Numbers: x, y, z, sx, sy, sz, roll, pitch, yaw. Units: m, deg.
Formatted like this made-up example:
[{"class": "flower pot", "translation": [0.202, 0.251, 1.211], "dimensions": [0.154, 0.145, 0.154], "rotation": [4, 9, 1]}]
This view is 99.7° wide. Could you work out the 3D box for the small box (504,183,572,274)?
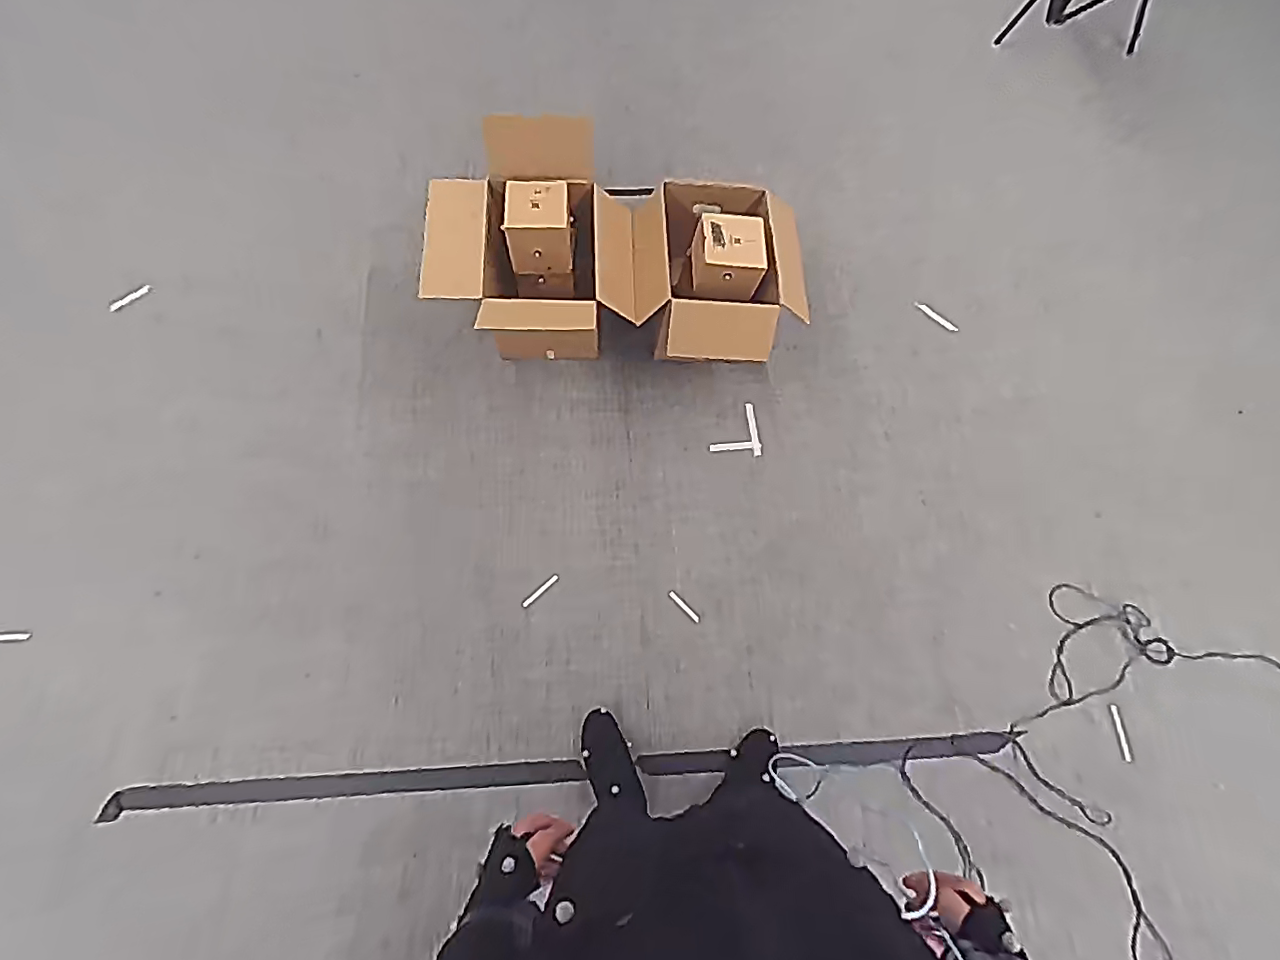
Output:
[{"class": "small box", "translation": [-0.281, -0.703, 1.520], "dimensions": [0.168, 0.176, 0.179], "rotation": [-2, 67, -4]}]
